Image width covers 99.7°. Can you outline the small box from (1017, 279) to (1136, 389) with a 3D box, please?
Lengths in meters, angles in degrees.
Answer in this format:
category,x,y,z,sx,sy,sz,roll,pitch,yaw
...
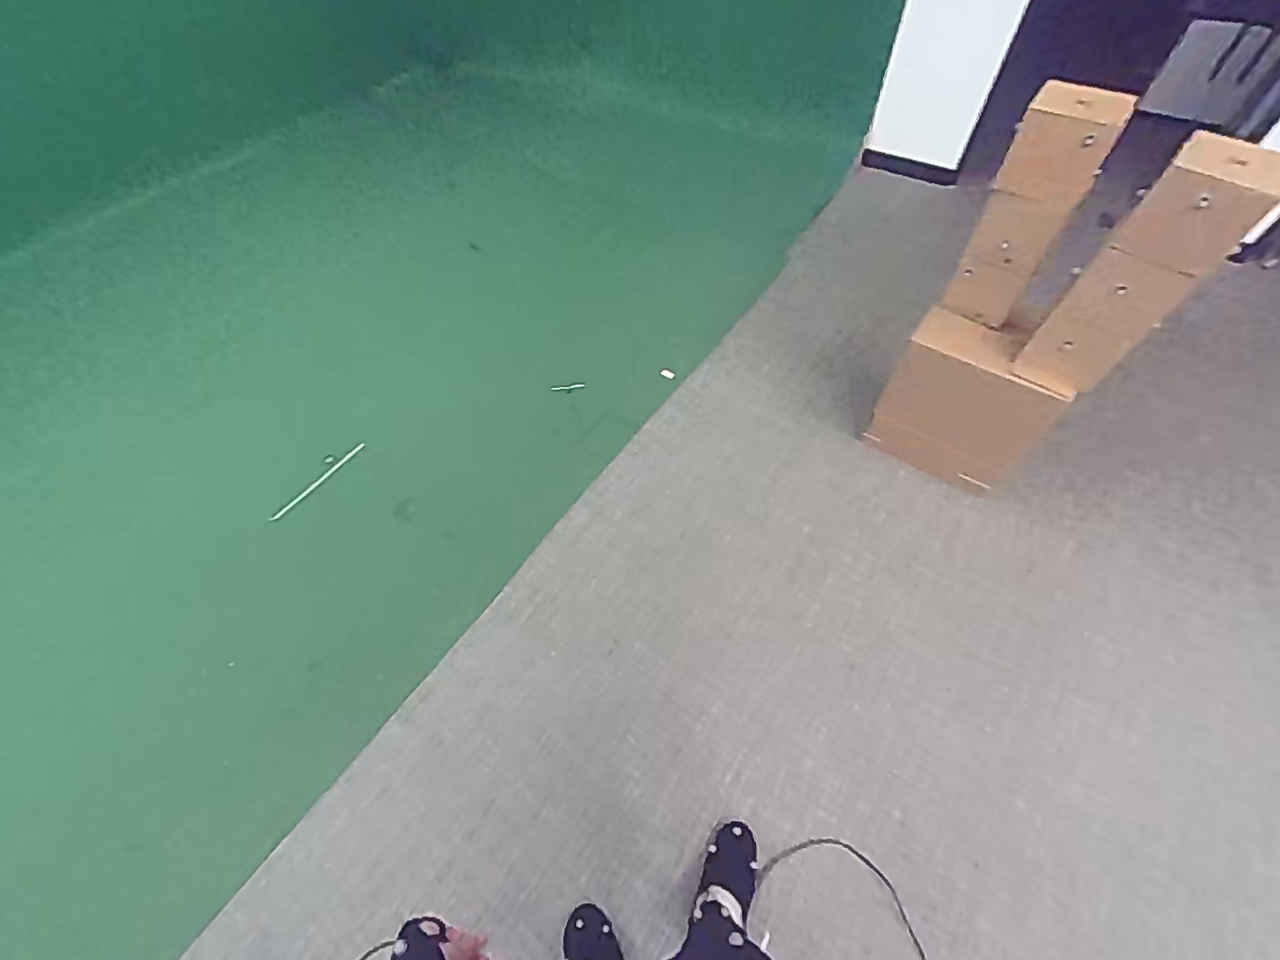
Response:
category,x,y,z,sx,sy,sz,roll,pitch,yaw
small box,1.074,-0.352,1.323,0.179,0.176,0.168,32,65,23

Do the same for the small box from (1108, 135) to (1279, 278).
category,x,y,z,sx,sy,sz,roll,pitch,yaw
small box,1.070,-0.524,1.045,0.179,0.176,0.168,38,66,22

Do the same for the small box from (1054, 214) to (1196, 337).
category,x,y,z,sx,sy,sz,roll,pitch,yaw
small box,1.071,-0.441,1.186,0.179,0.176,0.168,34,64,22
